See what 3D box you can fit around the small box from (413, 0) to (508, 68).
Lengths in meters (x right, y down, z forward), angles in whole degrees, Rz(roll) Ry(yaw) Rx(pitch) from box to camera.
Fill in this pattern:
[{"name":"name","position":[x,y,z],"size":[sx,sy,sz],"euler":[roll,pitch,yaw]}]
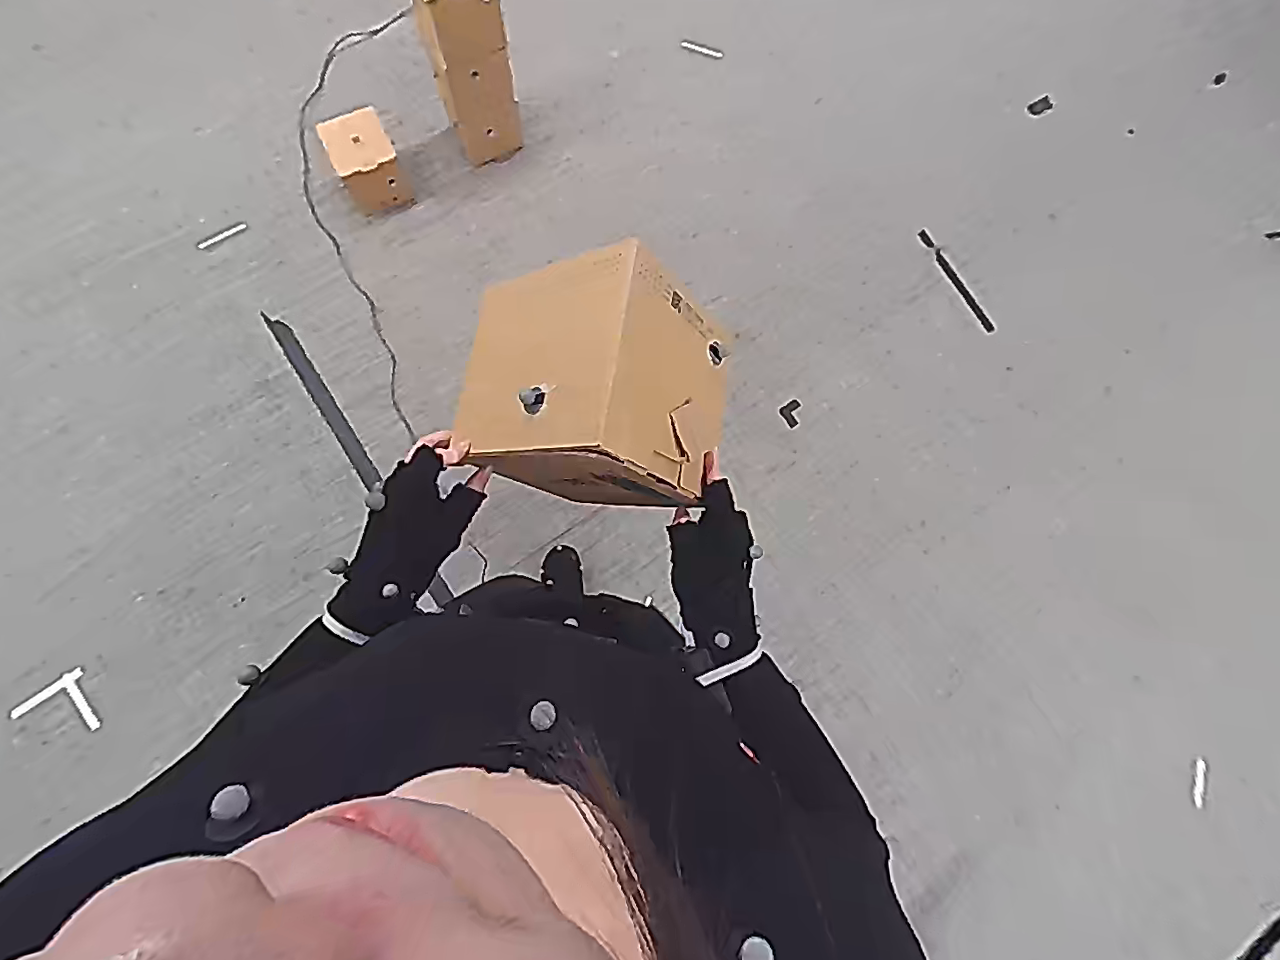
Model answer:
[{"name":"small box","position":[-0.433,-1.132,1.281],"size":[0.179,0.176,0.168],"euler":[-30,84,-10]}]

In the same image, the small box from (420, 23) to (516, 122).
[{"name":"small box","position":[-0.449,-1.103,1.441],"size":[0.179,0.176,0.168],"euler":[-27,84,-9]}]

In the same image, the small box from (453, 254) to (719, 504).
[{"name":"small box","position":[-0.039,-0.079,0.498],"size":[0.179,0.168,0.176],"euler":[0,75,37]}]

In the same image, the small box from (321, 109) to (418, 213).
[{"name":"small box","position":[-0.765,-0.901,1.550],"size":[0.168,0.176,0.179],"euler":[-26,84,-9]}]

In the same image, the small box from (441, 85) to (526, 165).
[{"name":"small box","position":[-0.456,-1.084,1.605],"size":[0.179,0.176,0.168],"euler":[-29,85,-9]}]
